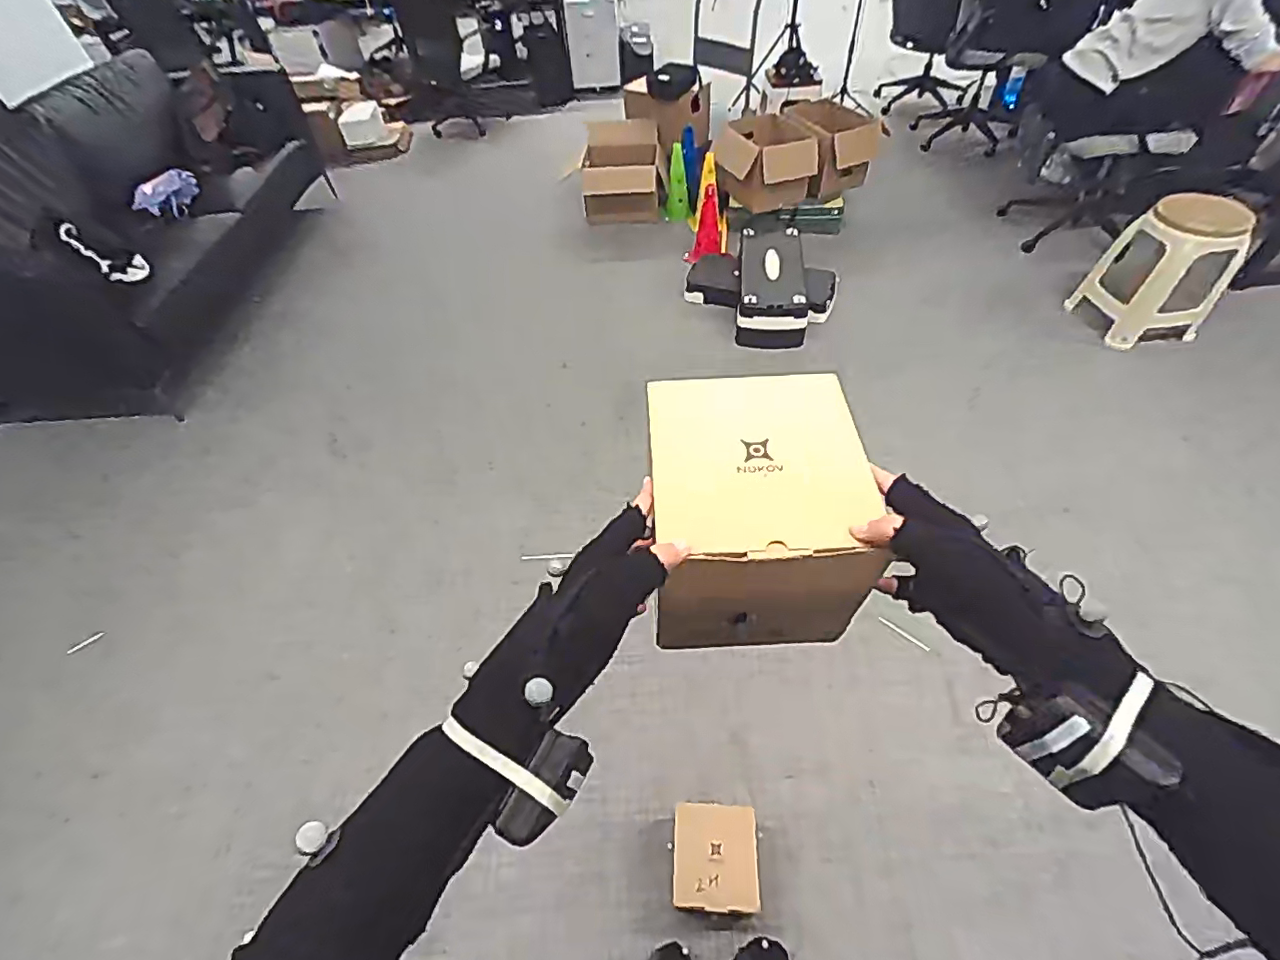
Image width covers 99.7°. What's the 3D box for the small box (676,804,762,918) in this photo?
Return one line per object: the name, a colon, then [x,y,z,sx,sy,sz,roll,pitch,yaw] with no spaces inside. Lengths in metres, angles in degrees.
small box: [0.160,0.801,1.137,0.168,0.176,0.179,0,51,6]
